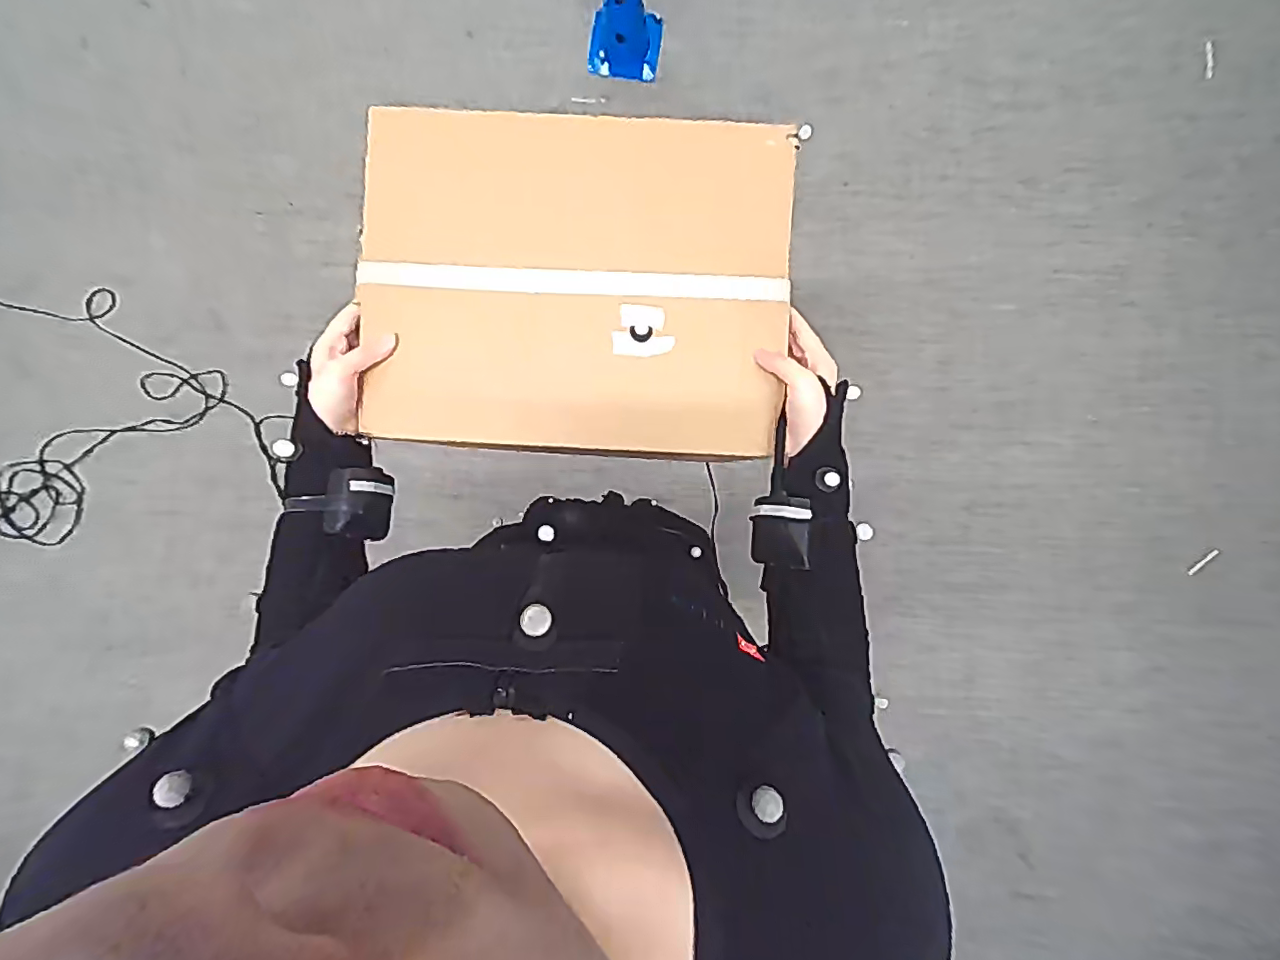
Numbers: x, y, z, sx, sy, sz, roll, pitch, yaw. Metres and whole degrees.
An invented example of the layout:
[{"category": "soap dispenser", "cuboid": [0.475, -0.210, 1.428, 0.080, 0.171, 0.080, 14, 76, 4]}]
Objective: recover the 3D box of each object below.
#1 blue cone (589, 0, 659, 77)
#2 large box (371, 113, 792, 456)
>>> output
[{"category": "blue cone", "cuboid": [-0.049, -1.271, 1.399, 0.193, 0.380, 0.192, 10, 87, 1]}, {"category": "large box", "cuboid": [-0.060, -0.194, 0.669, 0.408, 0.320, 0.320, 3, 92, -1]}]
